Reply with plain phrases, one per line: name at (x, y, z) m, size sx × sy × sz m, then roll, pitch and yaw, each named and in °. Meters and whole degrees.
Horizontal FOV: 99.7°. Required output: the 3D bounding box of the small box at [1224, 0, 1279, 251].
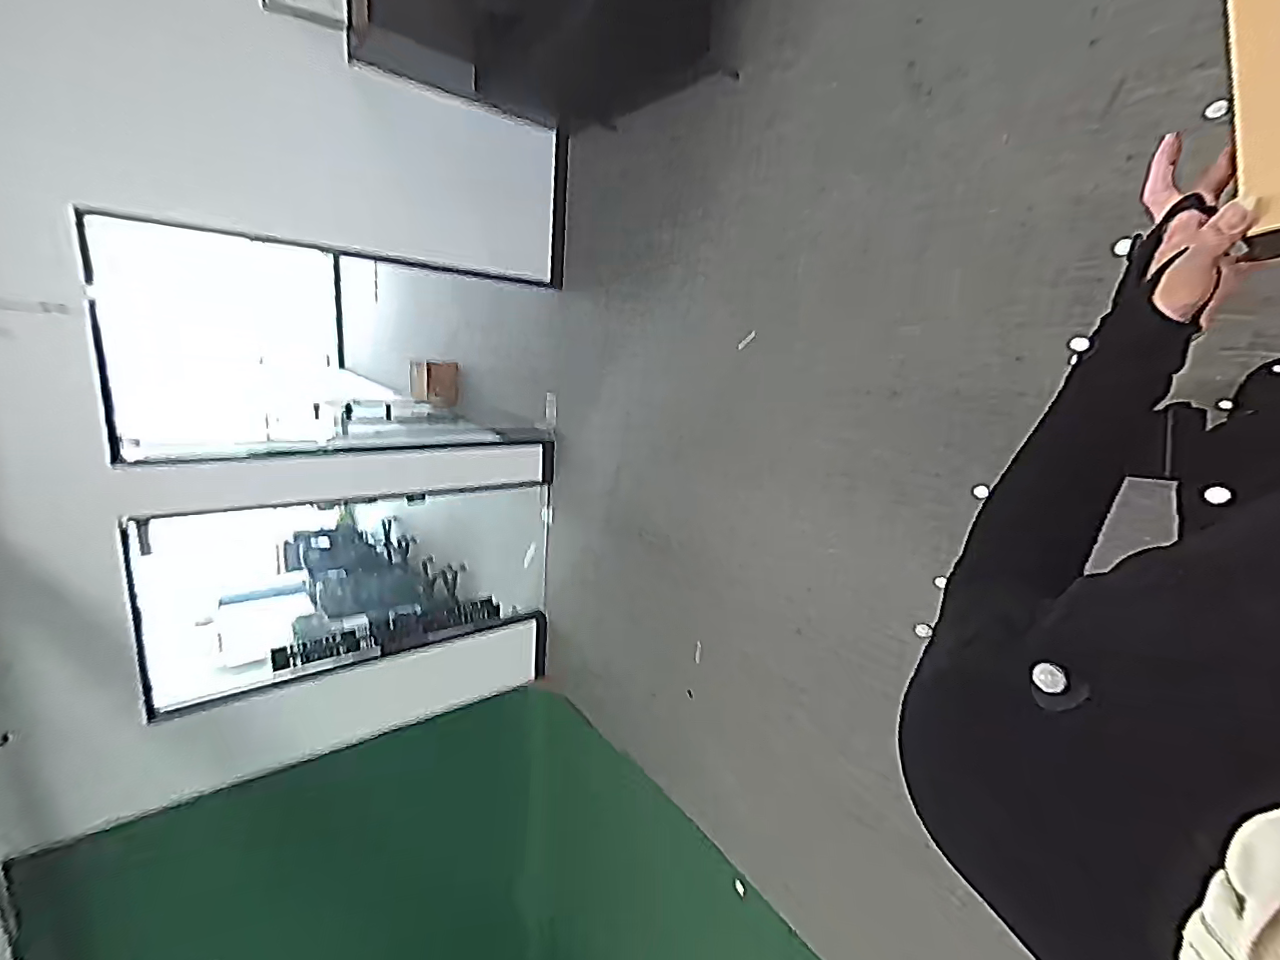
small box at (0.499, -0.267, 0.344) m, size 0.168 × 0.176 × 0.179 m, roll -2°, pitch 98°, yaw 52°
